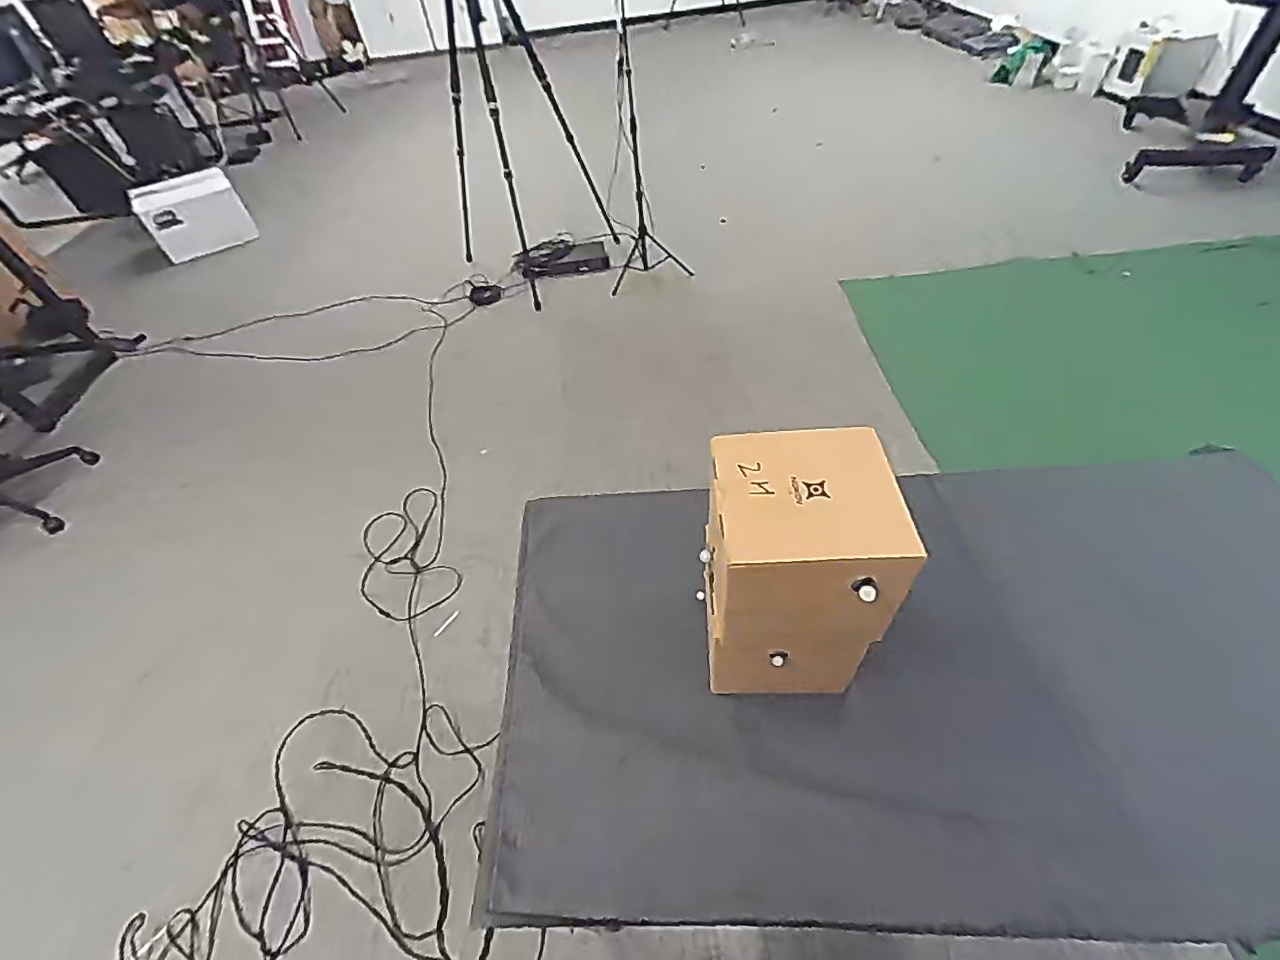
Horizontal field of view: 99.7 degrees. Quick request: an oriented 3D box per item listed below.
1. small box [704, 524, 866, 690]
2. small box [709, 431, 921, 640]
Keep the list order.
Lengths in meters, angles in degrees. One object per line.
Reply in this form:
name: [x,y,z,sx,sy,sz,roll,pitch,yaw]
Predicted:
small box: [0.177,0.171,0.723,0.179,0.176,0.168,-1,48,4]
small box: [0.171,0.065,0.596,0.179,0.176,0.168,-3,48,3]
